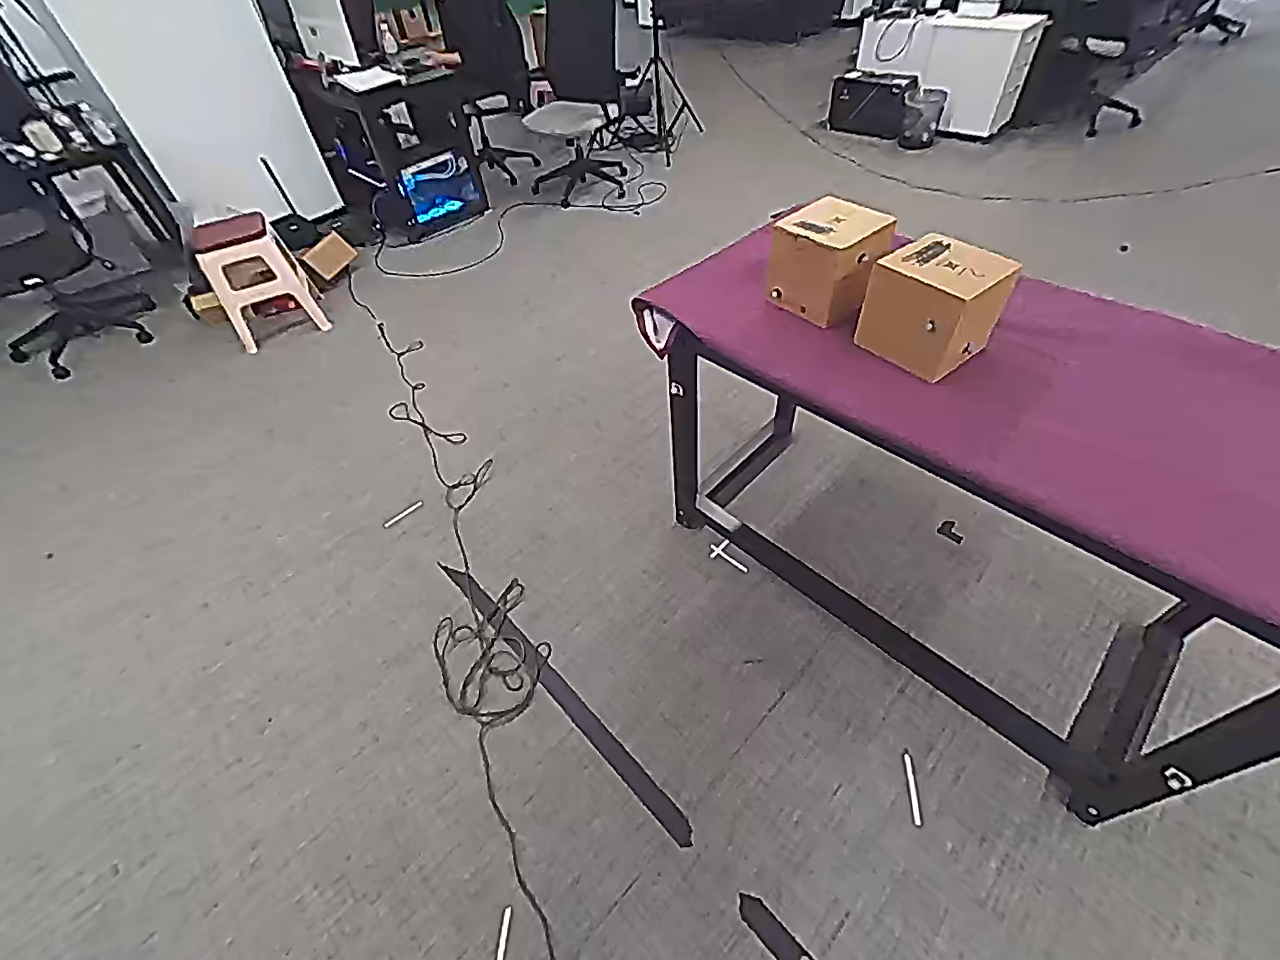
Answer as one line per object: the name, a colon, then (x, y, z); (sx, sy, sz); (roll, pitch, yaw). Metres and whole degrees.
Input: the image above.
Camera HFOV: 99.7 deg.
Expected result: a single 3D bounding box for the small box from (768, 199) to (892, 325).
small box: (0.382, -0.449, 1.119); (0.179, 0.176, 0.168); (-33, 54, -22)
